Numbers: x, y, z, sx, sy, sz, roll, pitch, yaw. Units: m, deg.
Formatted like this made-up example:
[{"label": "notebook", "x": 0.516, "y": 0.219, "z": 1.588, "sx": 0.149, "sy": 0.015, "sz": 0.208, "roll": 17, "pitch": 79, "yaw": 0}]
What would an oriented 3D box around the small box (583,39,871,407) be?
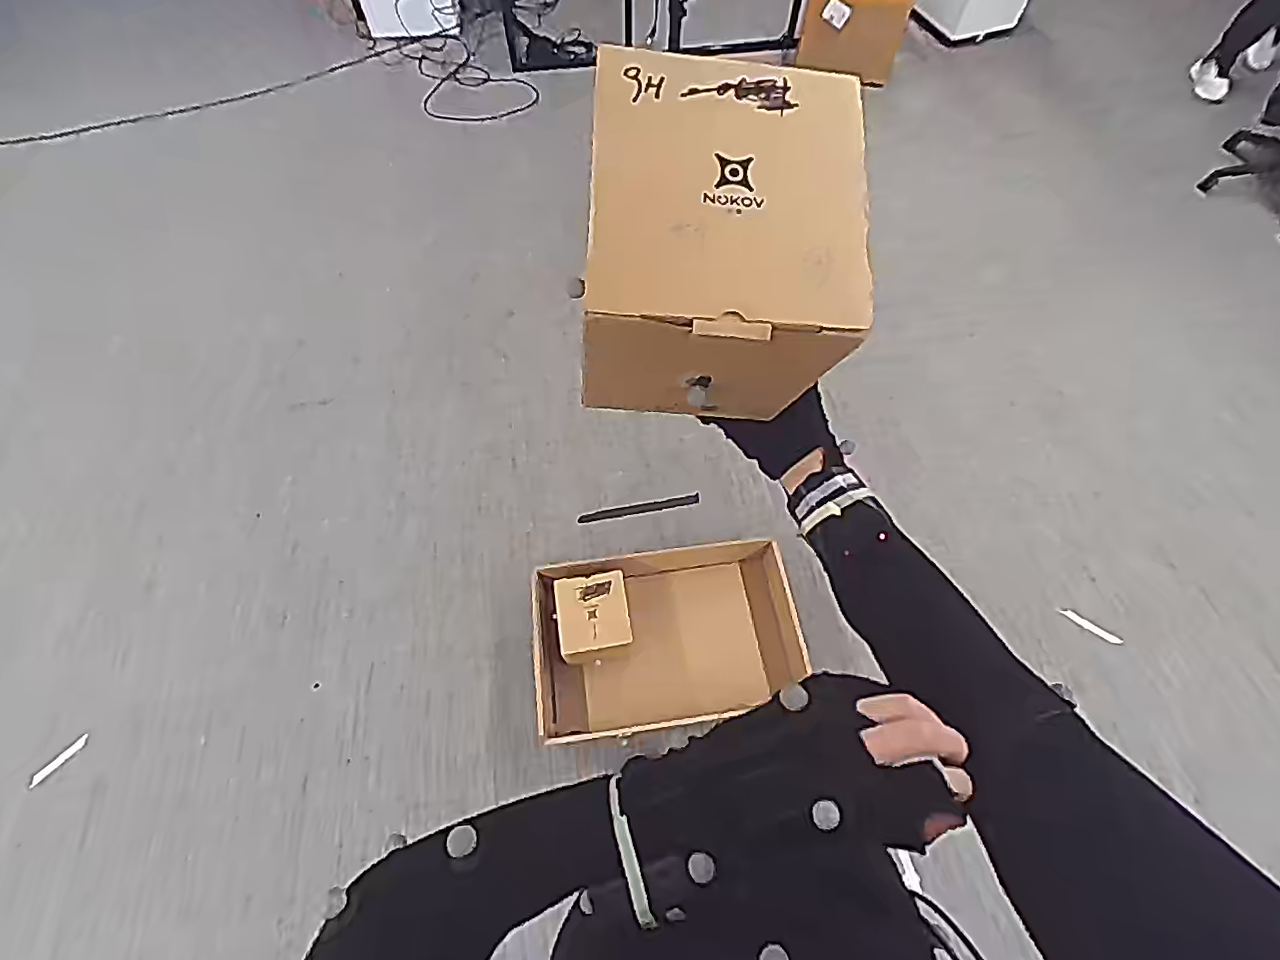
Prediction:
[{"label": "small box", "x": 0.047, "y": -0.160, "z": 0.392, "sx": 0.168, "sy": 0.176, "sz": 0.179, "roll": 3, "pitch": 80, "yaw": -6}]
